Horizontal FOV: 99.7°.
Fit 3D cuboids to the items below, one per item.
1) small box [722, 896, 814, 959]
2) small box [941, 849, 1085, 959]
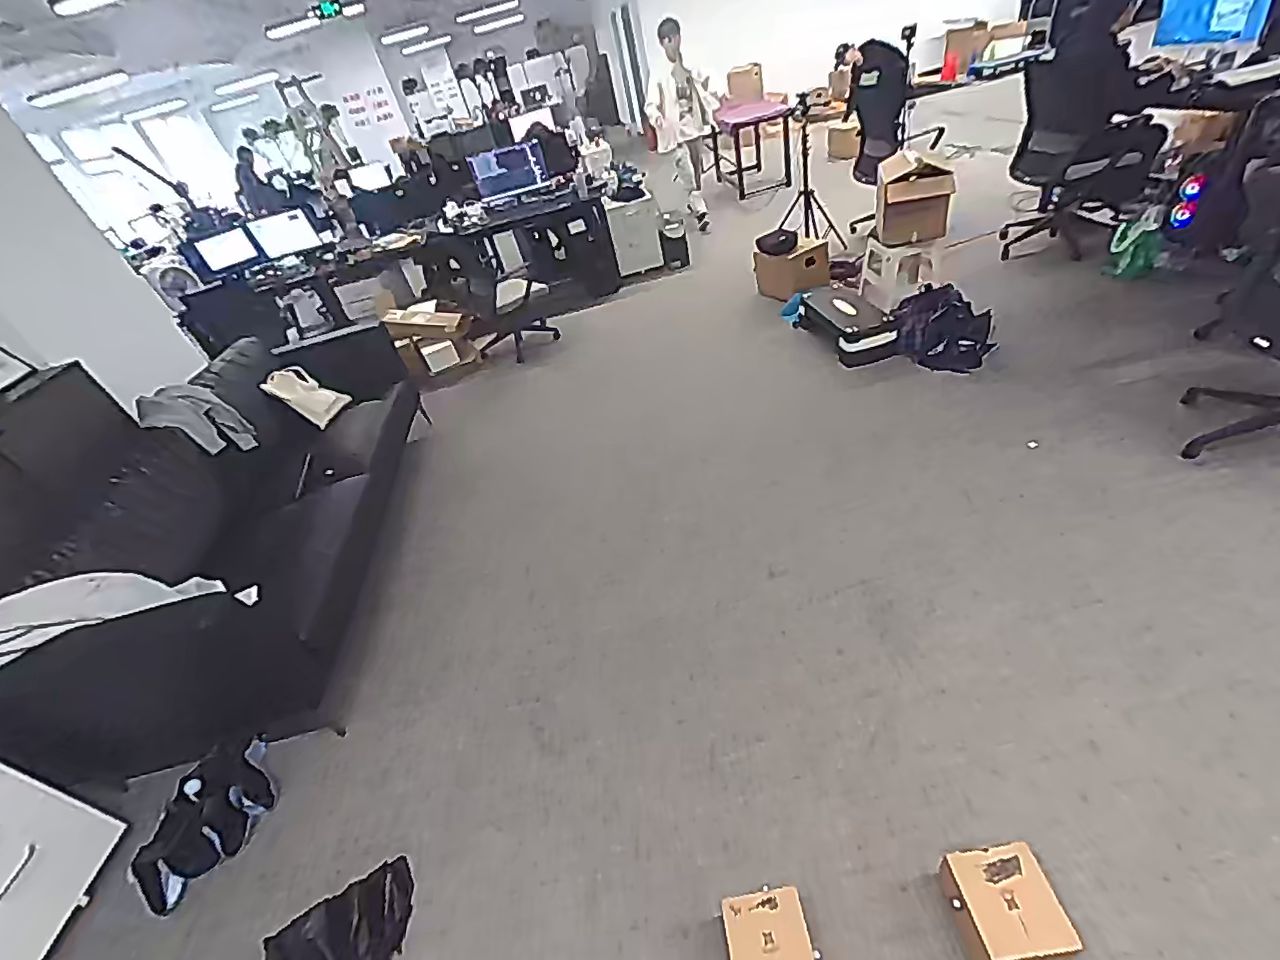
[{"bbox_3d":[0.278,1.006,1.124,0.168,0.176,0.179,-13,37,4],"label":"small box"},{"bbox_3d":[0.739,0.889,1.097,0.168,0.176,0.179,-14,38,5],"label":"small box"}]
